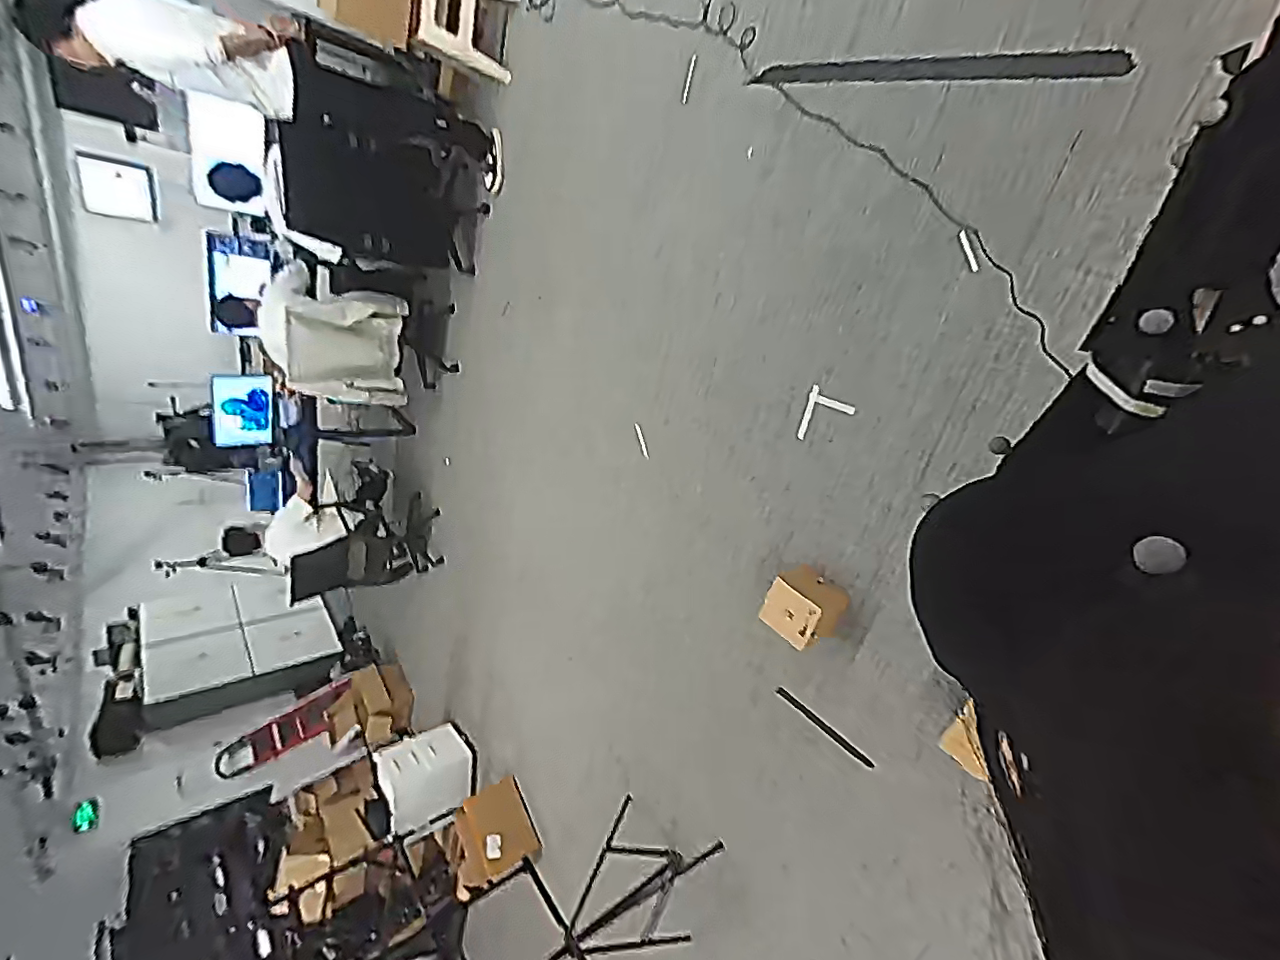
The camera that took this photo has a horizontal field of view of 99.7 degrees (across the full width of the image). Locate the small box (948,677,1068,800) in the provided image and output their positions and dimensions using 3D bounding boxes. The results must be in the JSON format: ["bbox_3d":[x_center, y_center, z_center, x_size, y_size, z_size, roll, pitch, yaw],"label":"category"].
[{"bbox_3d":[0.893,0.617,1.309,0.168,0.176,0.179,36,121,38],"label":"small box"}]

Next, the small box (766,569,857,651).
[{"bbox_3d":[0.533,0.394,1.682,0.179,0.176,0.168,38,123,40],"label":"small box"}]
